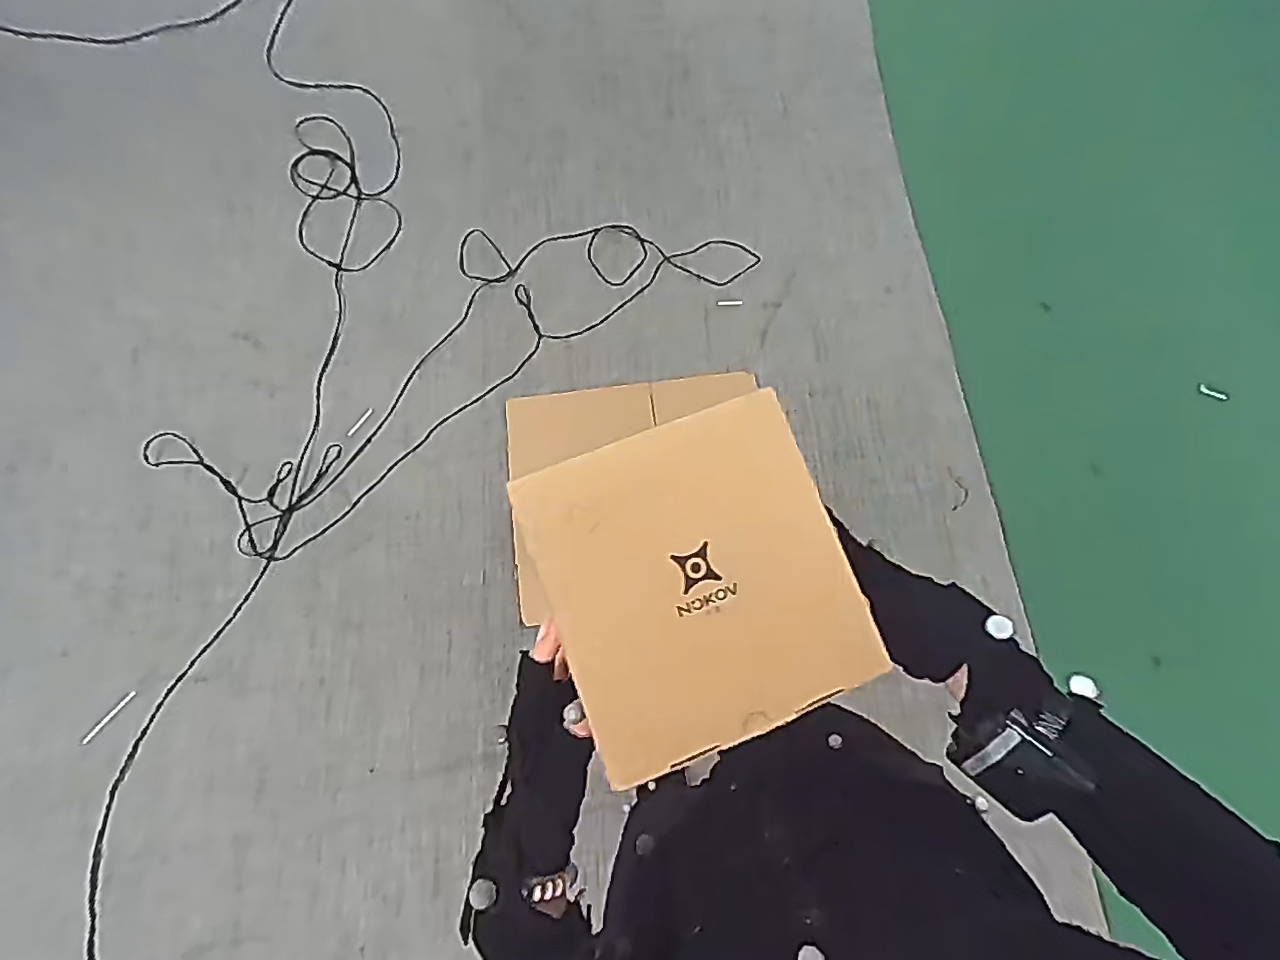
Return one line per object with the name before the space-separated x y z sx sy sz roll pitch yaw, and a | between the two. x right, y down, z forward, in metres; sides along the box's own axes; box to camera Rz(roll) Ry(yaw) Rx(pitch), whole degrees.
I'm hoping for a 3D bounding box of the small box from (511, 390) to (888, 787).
small box | 0.026 0.066 0.377 0.168 0.176 0.179 -21 83 -7
